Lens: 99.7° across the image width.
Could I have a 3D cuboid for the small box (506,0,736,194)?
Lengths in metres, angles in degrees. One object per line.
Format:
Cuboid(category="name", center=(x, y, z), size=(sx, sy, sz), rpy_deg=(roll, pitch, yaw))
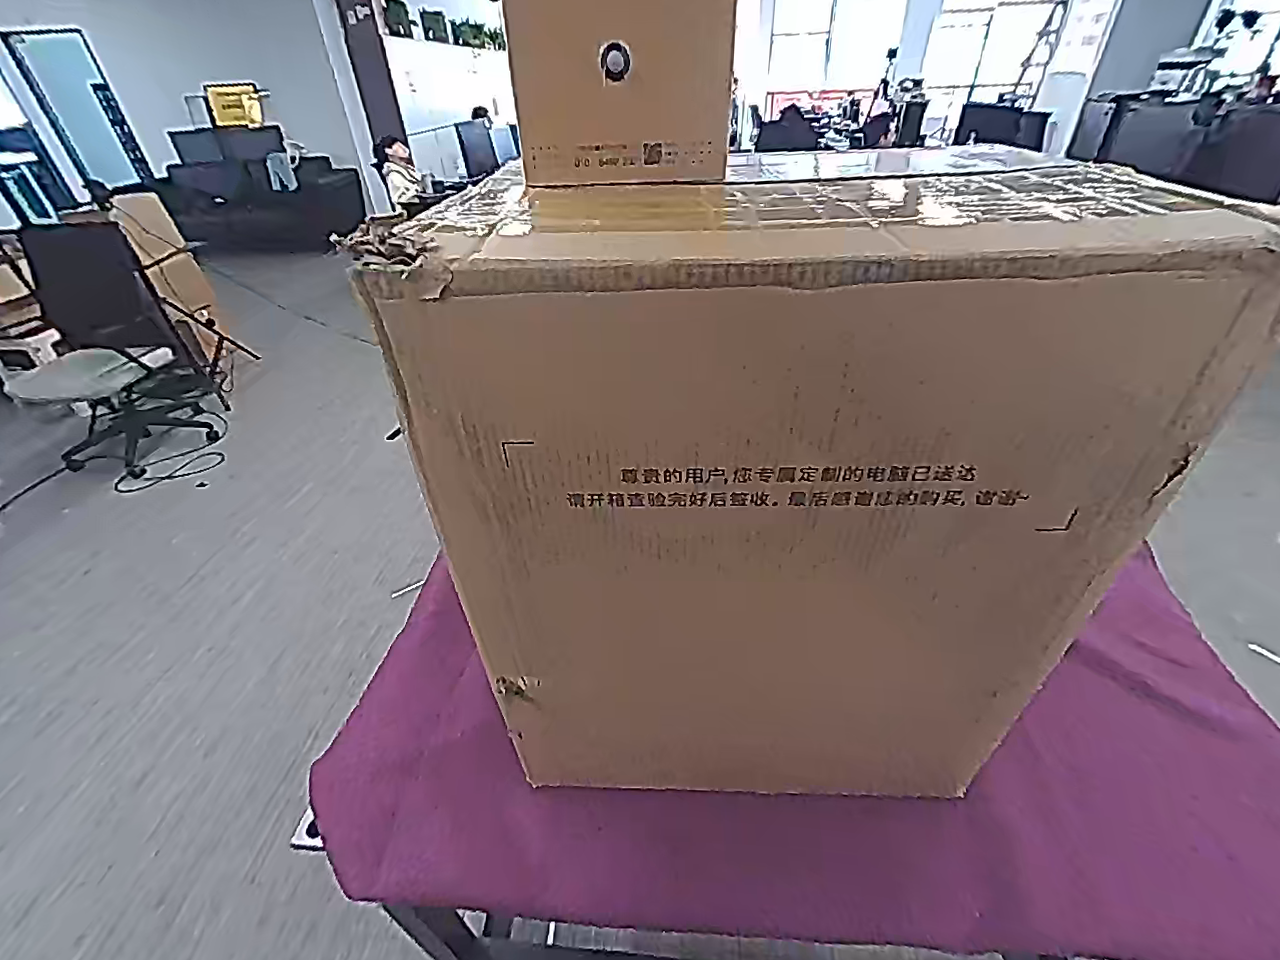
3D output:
Cuboid(category="small box", center=(-0.014, -0.349, 0.462), size=(0.168, 0.176, 0.179), rpy_deg=(-2, 37, -3))
